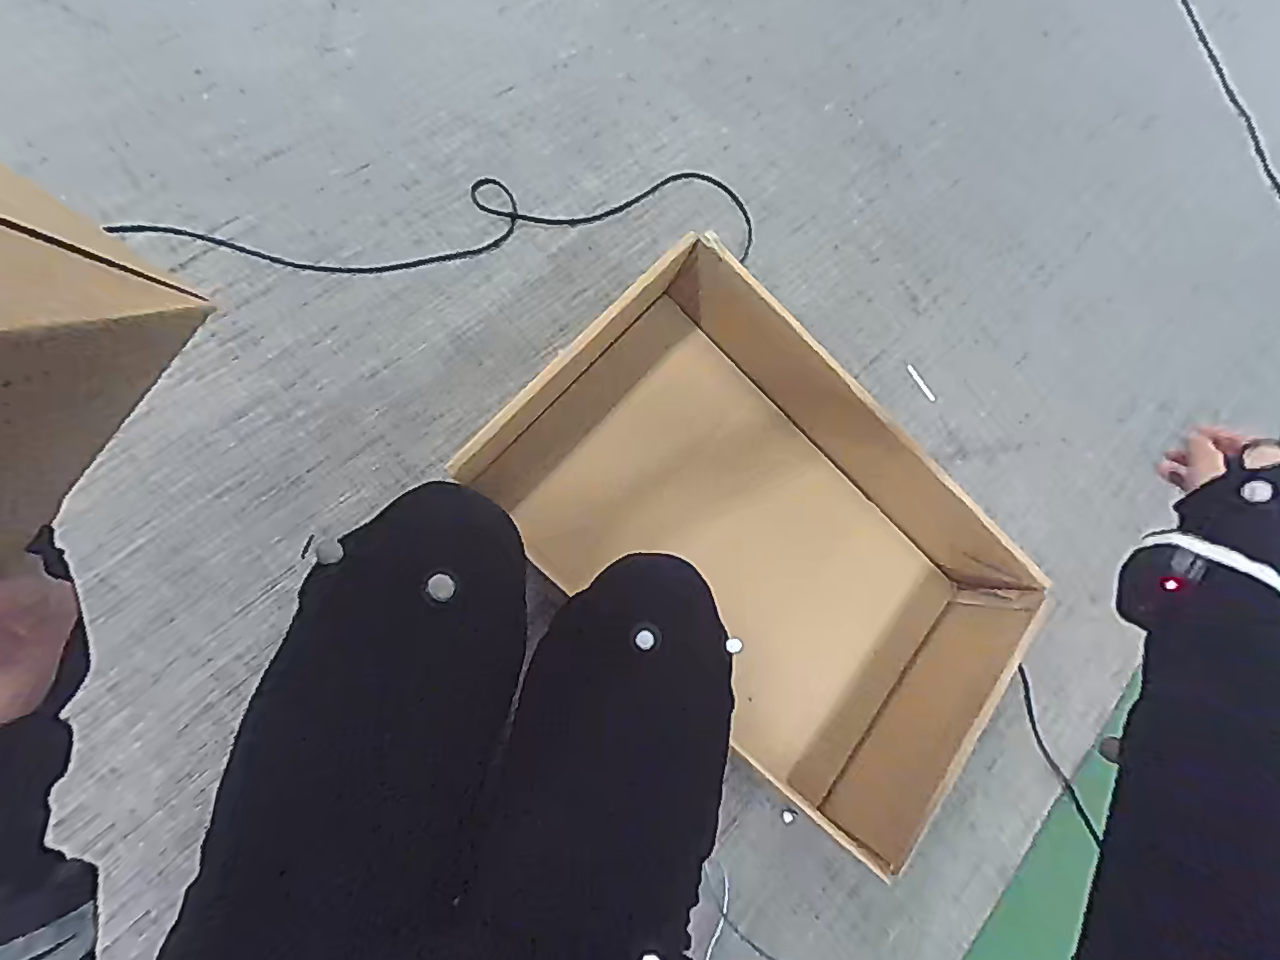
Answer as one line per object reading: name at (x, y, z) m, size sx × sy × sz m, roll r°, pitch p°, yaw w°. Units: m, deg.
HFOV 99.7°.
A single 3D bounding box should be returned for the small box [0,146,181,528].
small box at (-0.223, -0.023, 0.077) m, size 0.168 × 0.179 × 0.176 m, roll 39°, pitch 89°, yaw -30°
